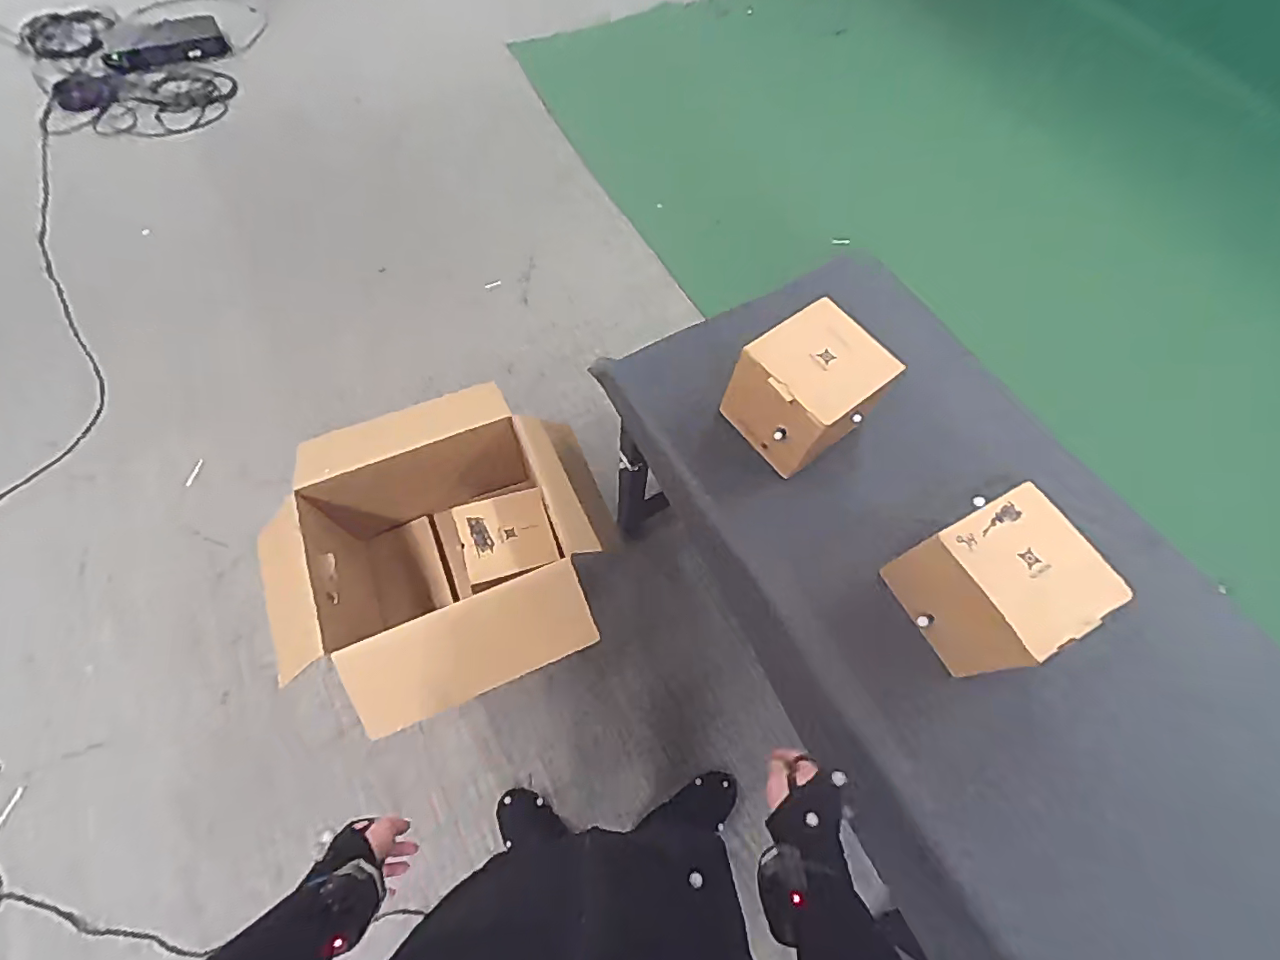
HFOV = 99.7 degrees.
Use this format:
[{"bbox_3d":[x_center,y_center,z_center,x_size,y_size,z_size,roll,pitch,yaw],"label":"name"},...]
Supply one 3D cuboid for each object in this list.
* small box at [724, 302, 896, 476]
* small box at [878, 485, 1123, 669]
[{"bbox_3d":[0.250,-0.136,0.850,0.179,0.176,0.168,-34,73,-20],"label":"small box"},{"bbox_3d":[0.466,0.140,0.731,0.168,0.176,0.179,-25,69,-14],"label":"small box"}]
